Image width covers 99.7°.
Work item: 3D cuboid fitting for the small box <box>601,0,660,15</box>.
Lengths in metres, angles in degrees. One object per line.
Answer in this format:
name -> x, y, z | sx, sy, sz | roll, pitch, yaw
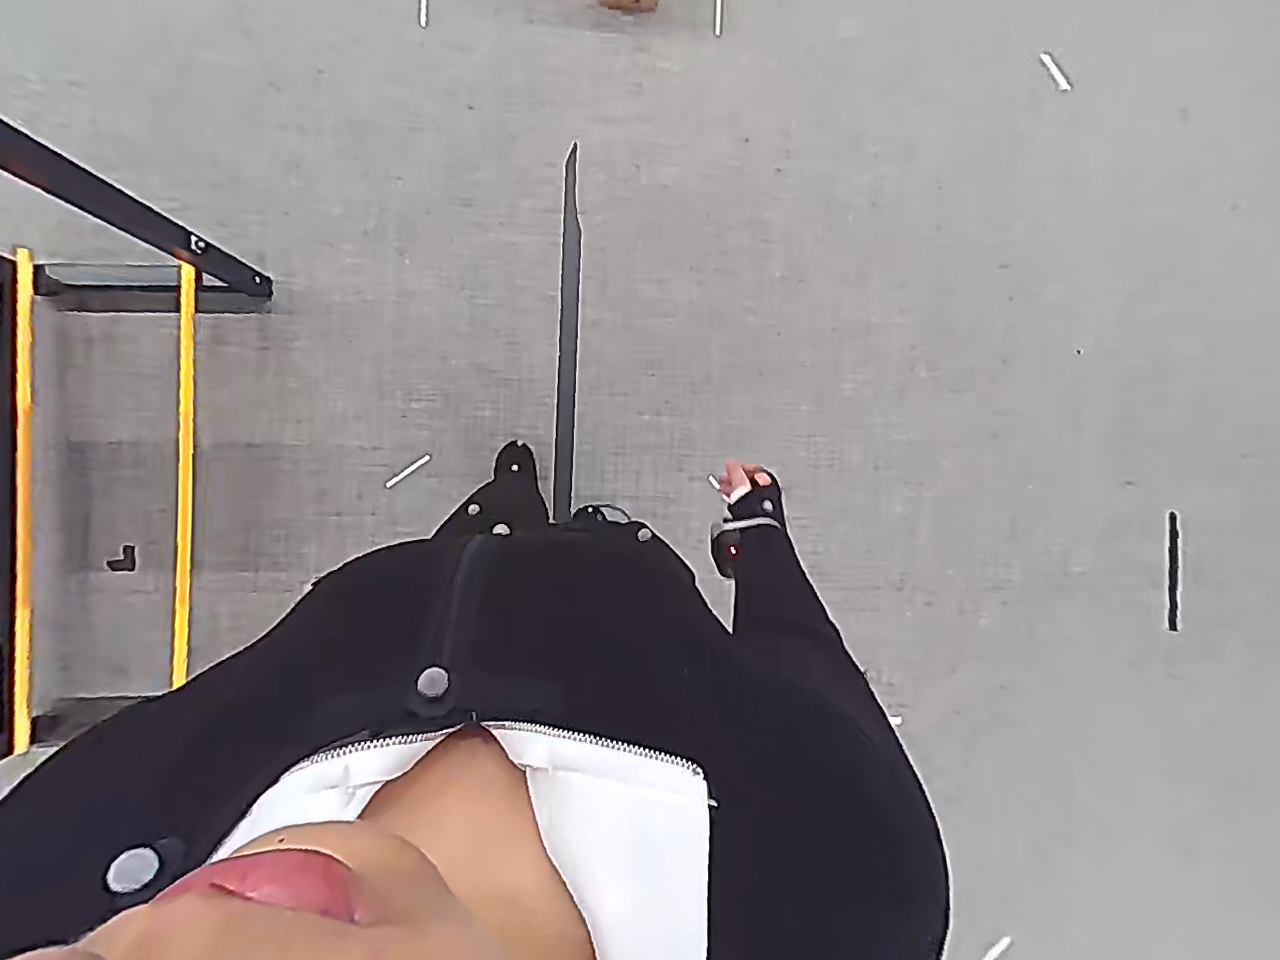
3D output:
small box -> -0.021, -1.378, 1.420 | 0.168, 0.176, 0.179 | 1, 91, -4
